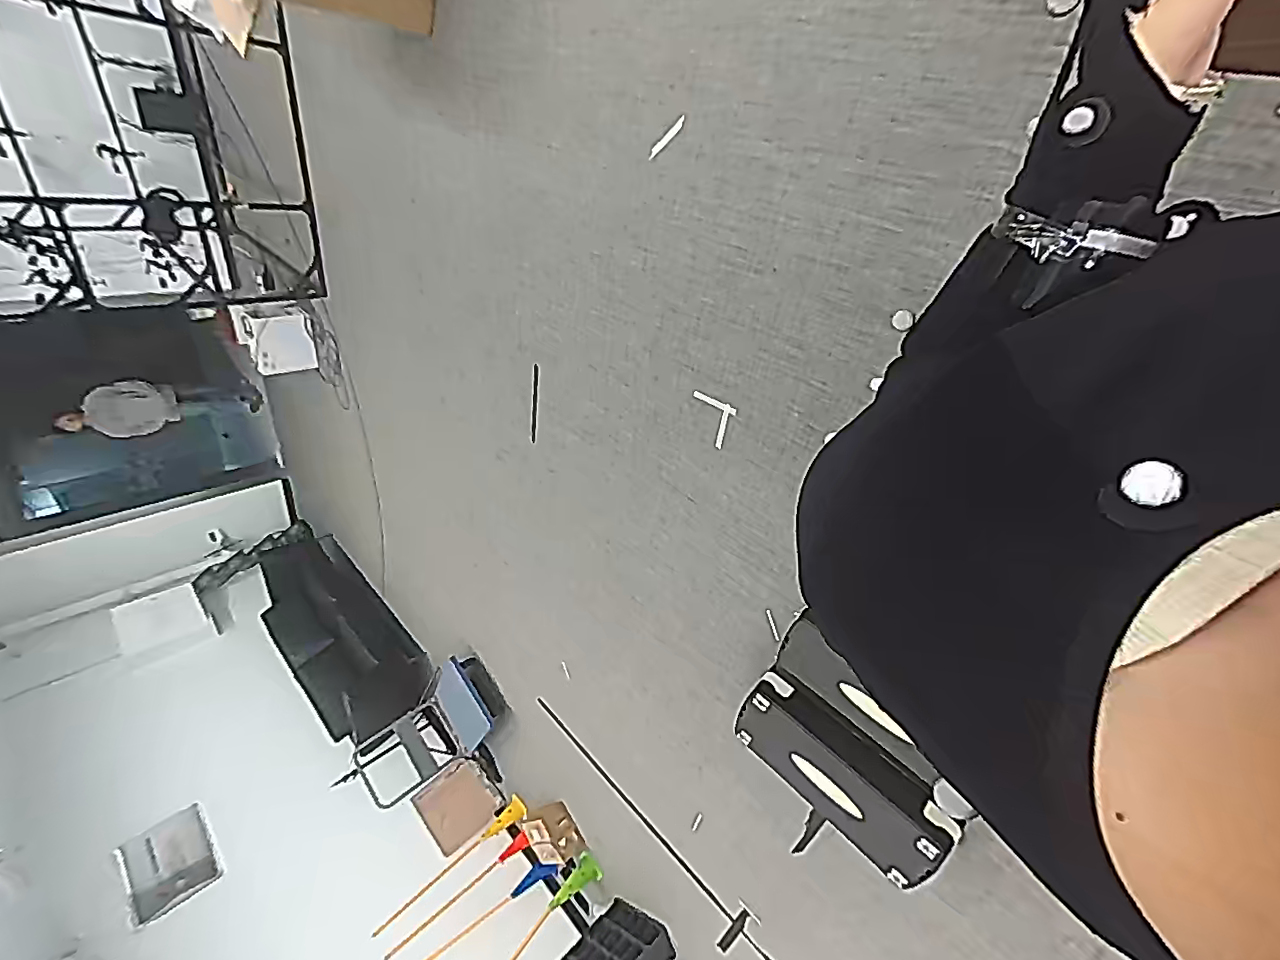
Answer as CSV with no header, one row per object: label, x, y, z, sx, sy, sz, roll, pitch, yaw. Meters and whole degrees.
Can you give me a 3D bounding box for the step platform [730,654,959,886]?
step platform,0.615,0.903,1.721,0.684,0.204,0.286,41,133,28
